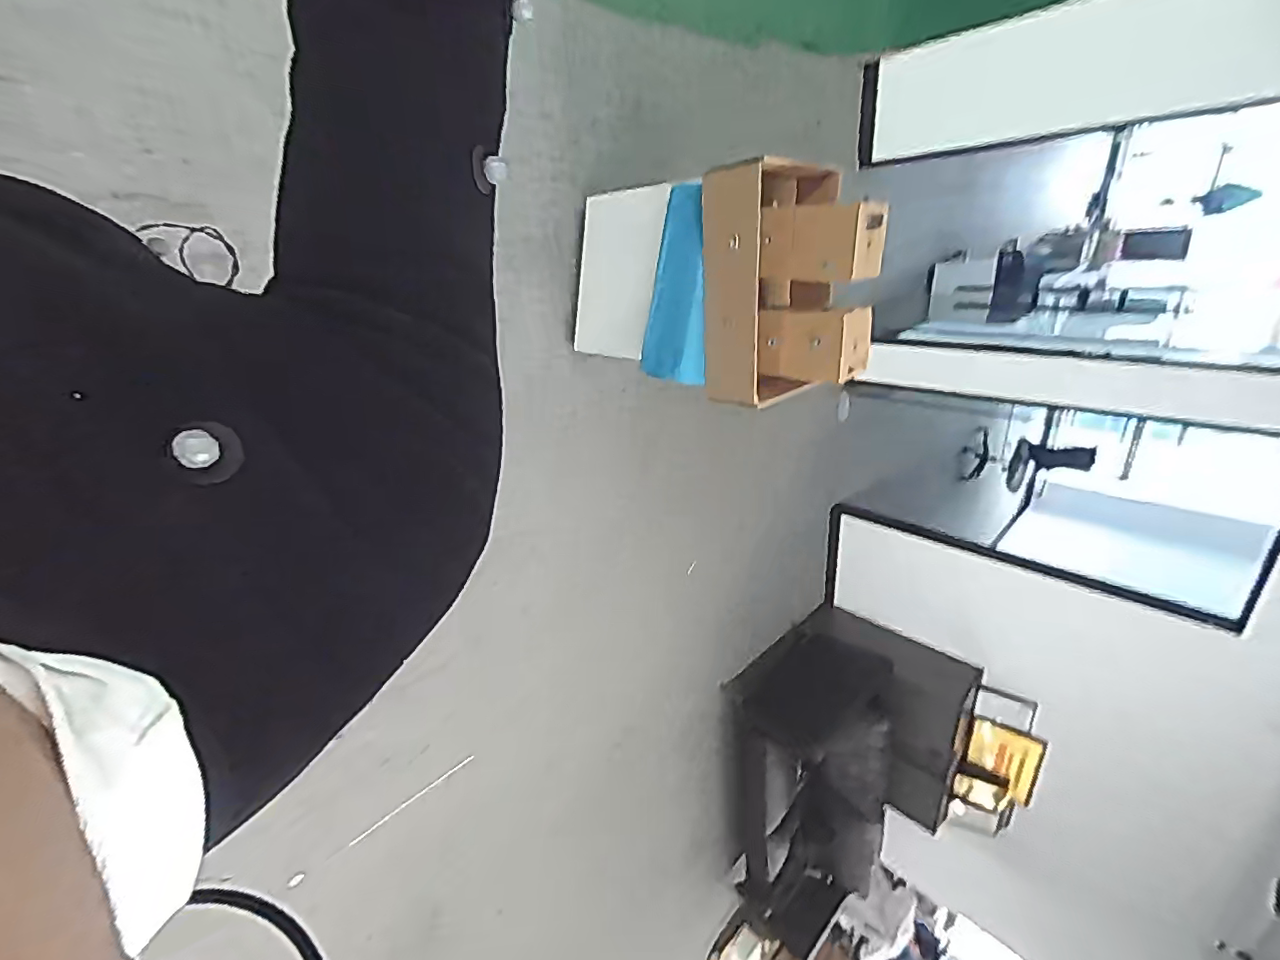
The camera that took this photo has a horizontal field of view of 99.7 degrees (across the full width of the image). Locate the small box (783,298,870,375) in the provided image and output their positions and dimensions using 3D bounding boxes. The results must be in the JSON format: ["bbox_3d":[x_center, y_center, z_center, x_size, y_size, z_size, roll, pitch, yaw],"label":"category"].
[{"bbox_3d":[0.502,-0.392,1.466,0.168,0.176,0.179,-25,120,-38],"label":"small box"}]
